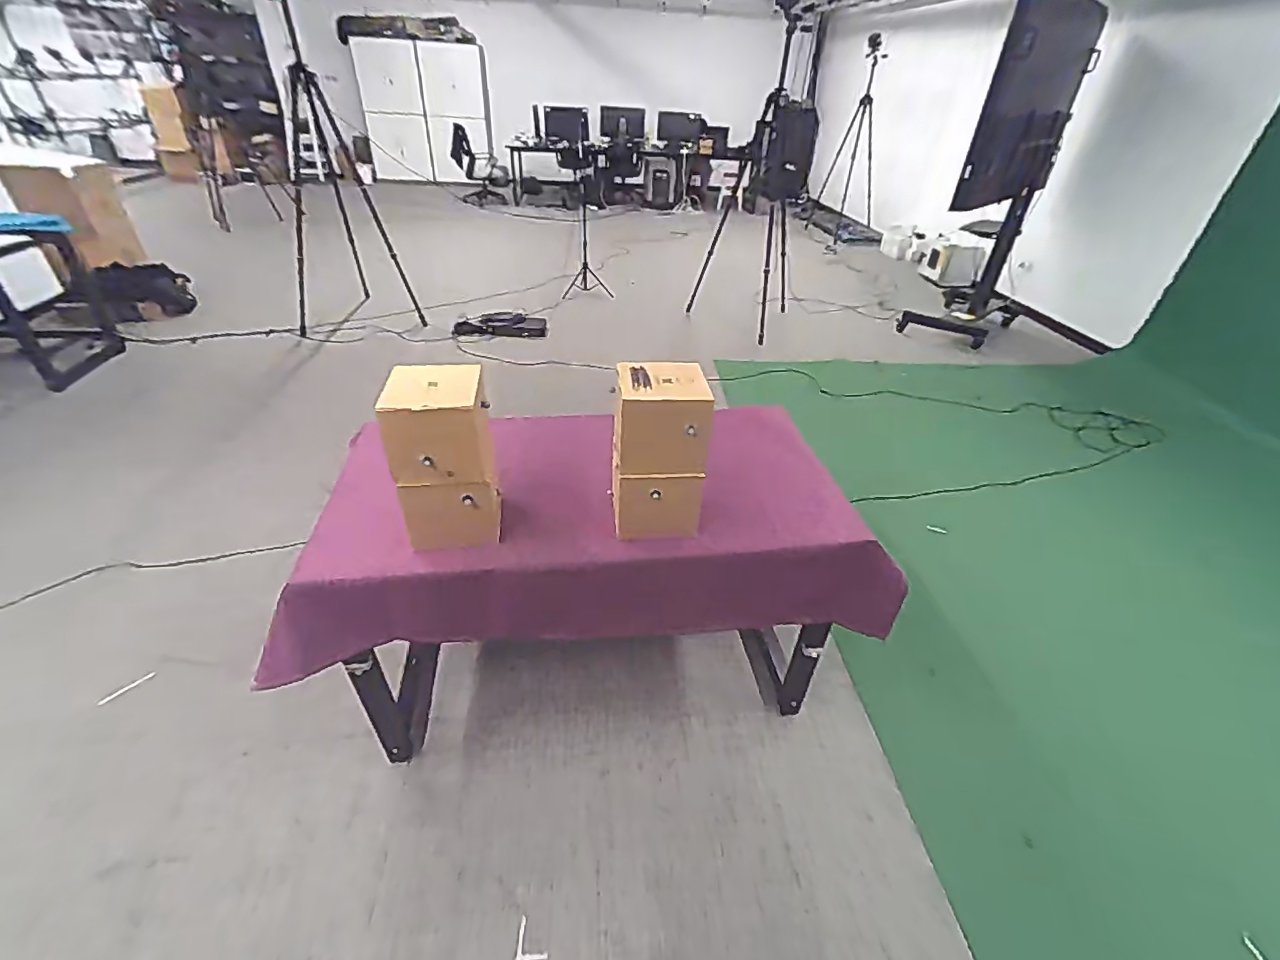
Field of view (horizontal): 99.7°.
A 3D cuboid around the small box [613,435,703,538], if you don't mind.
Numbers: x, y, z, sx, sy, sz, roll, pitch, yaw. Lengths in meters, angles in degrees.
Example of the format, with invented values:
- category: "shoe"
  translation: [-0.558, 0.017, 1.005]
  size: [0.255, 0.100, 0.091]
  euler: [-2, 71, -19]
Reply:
- category: "small box"
  translation: [0.032, 0.015, 1.187]
  size: [0.179, 0.176, 0.168]
  euler: [-1, 37, -7]

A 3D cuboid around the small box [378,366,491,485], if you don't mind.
- category: "small box"
  translation: [-0.384, -0.108, 1.046]
  size: [0.168, 0.176, 0.179]
  euler: [-3, 37, -9]

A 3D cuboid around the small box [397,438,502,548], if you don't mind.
- category: "small box"
  translation: [-0.389, 0.027, 1.138]
  size: [0.179, 0.176, 0.168]
  euler: [-3, 36, -9]
